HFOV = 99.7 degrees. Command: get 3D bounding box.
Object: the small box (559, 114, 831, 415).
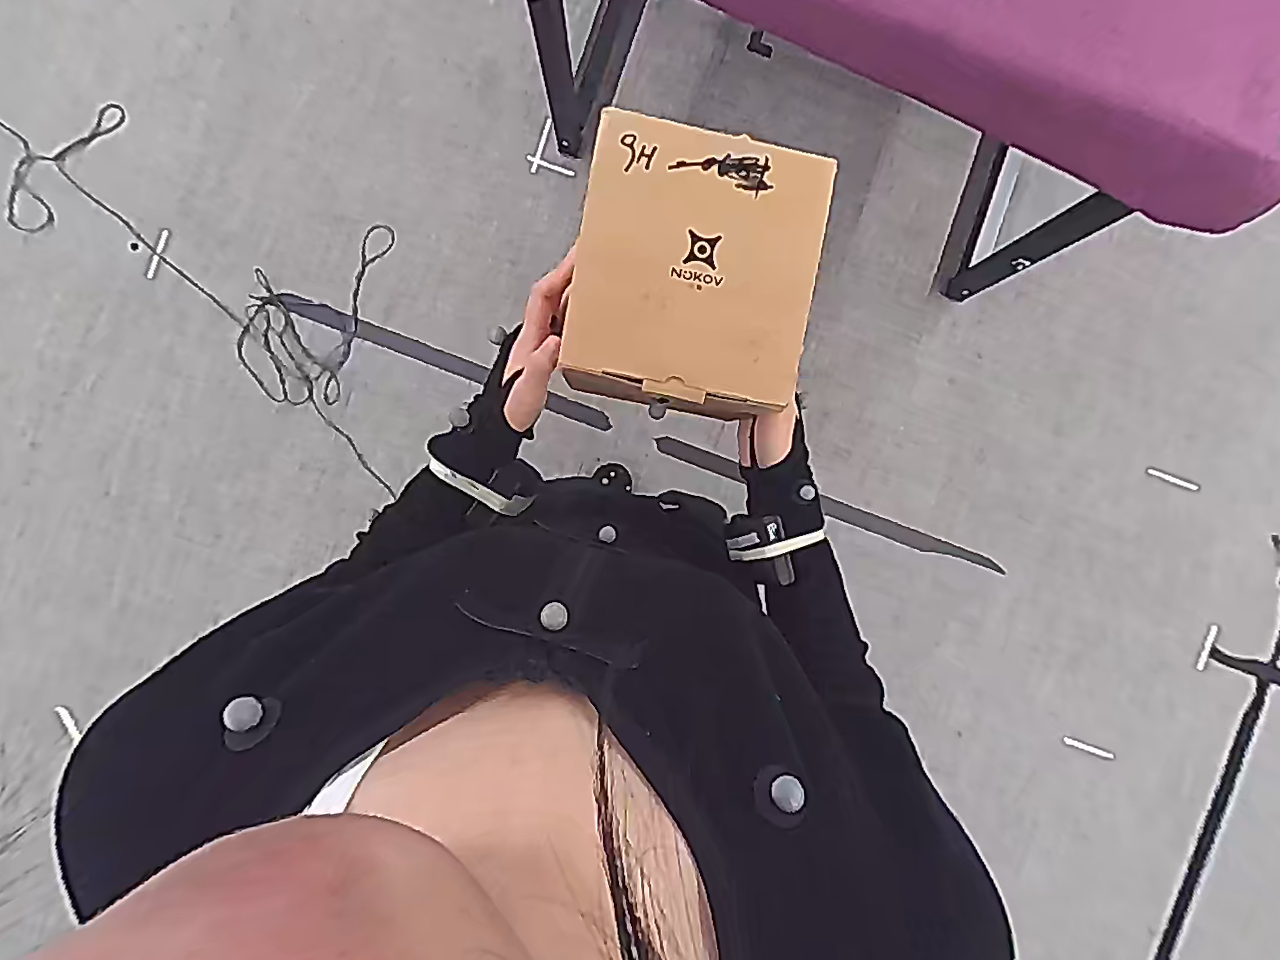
[{"bbox_3d":[0.034,-0.155,0.456,0.168,0.176,0.179,11,93,-5],"label":"small box"}]
